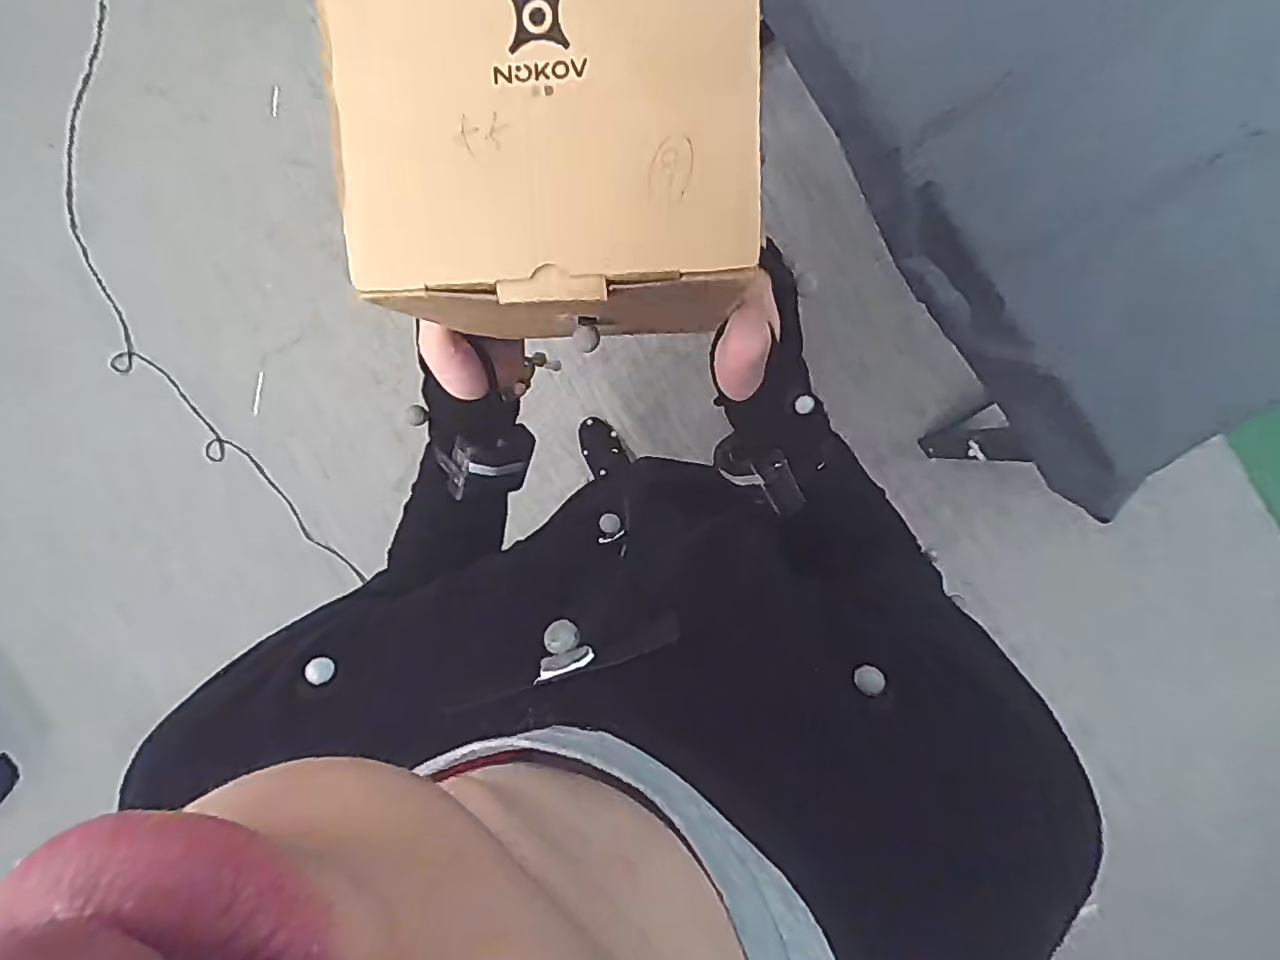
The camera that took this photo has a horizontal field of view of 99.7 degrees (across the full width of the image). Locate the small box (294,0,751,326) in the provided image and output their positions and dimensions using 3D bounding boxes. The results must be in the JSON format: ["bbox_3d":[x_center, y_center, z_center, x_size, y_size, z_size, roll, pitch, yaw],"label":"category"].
[{"bbox_3d":[-0.039,-0.173,0.272,0.168,0.176,0.179,-1,100,2],"label":"small box"}]
